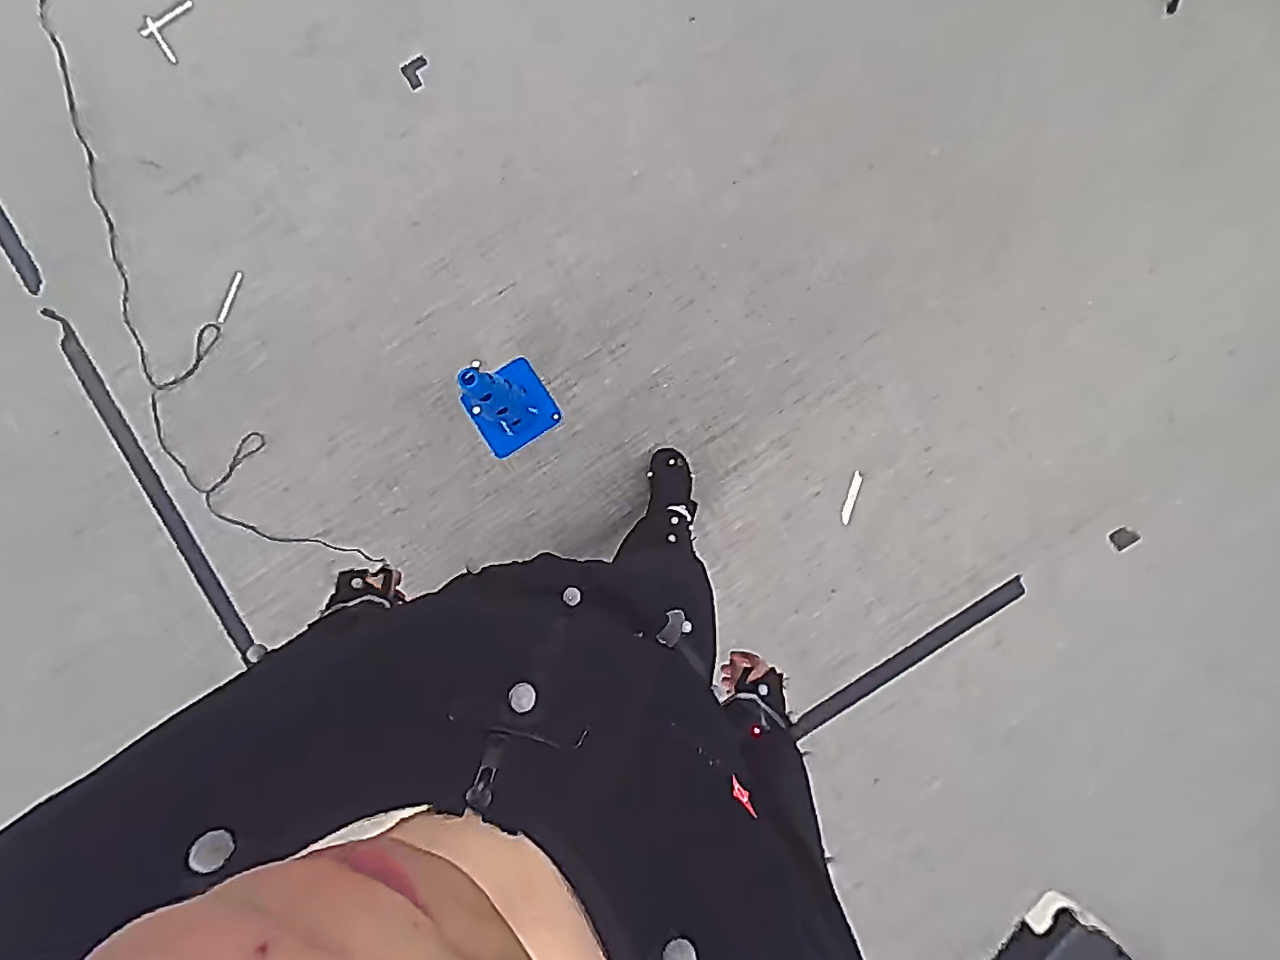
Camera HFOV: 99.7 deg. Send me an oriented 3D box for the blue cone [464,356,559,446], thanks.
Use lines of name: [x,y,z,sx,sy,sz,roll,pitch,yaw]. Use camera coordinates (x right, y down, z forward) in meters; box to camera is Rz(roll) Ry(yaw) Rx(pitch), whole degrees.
blue cone: [-0.322,-0.201,1.198,0.192,0.380,0.193,-31,89,-2]
